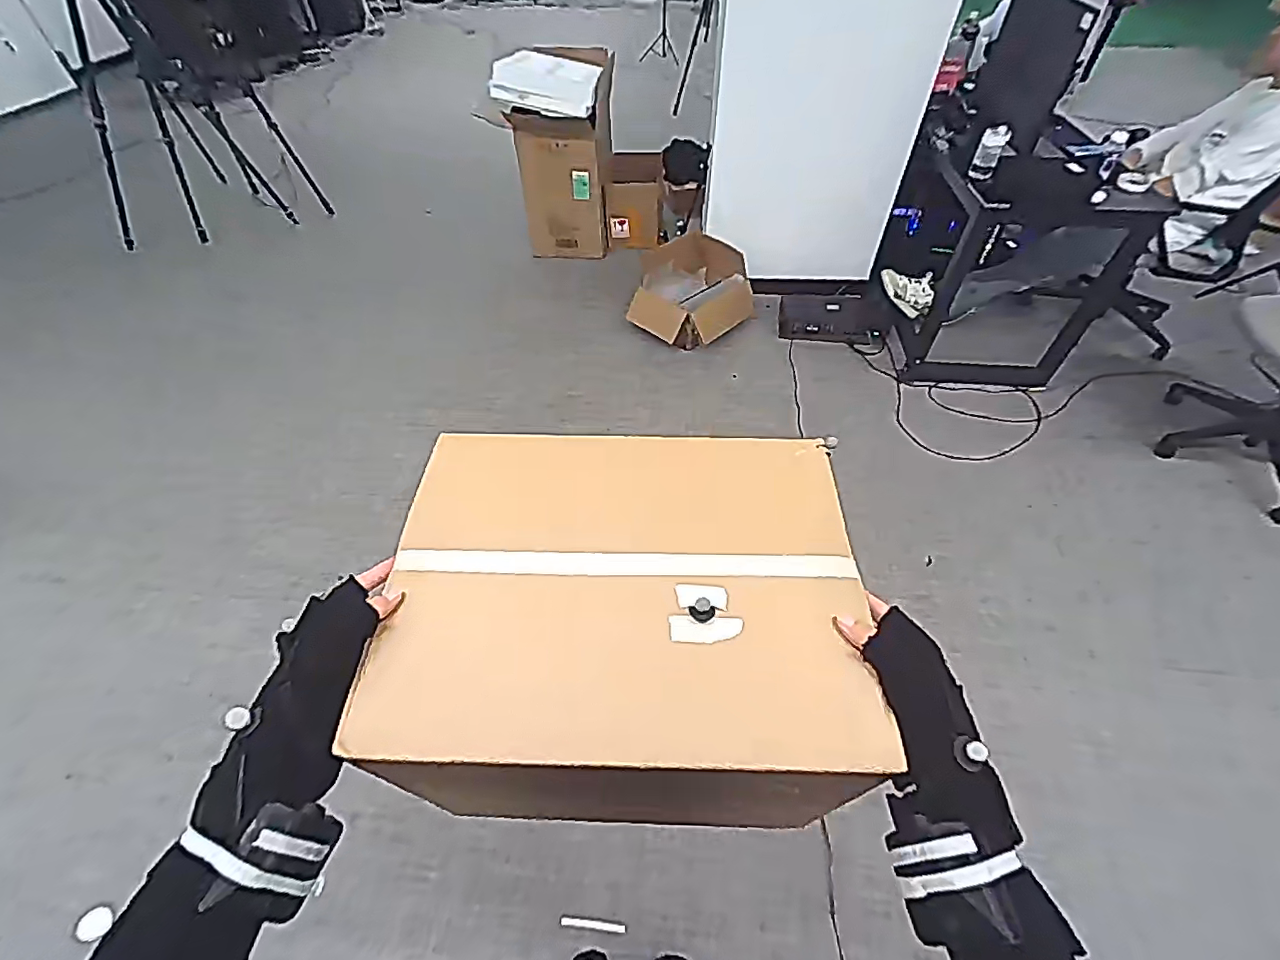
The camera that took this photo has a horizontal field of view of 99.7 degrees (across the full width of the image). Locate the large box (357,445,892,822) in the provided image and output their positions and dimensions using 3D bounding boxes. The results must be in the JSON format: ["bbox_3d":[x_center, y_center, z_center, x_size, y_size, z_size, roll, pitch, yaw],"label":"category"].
[{"bbox_3d":[-0.011,0.177,0.603,0.408,0.320,0.320,1,51,1],"label":"large box"}]
